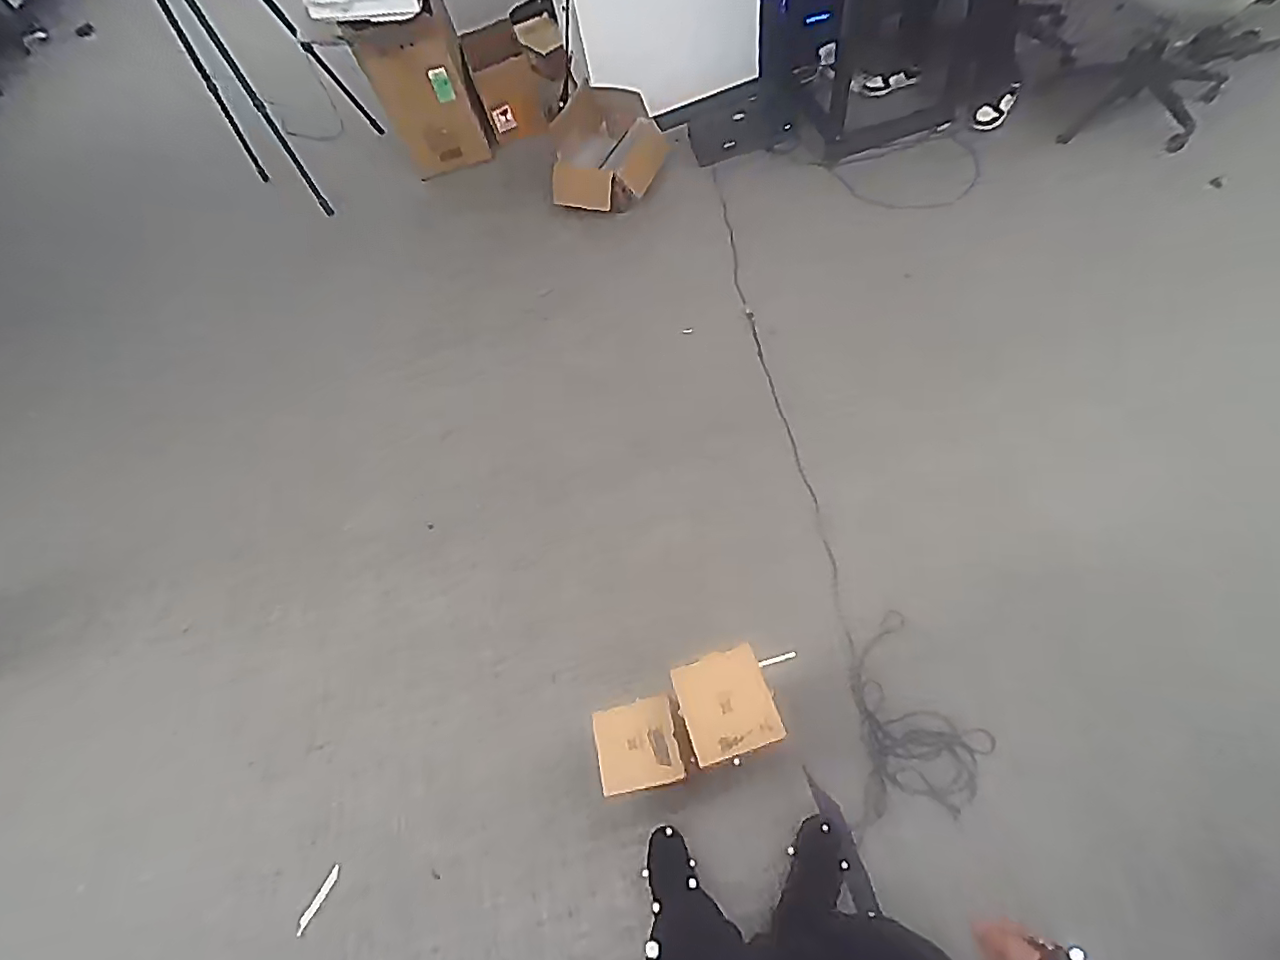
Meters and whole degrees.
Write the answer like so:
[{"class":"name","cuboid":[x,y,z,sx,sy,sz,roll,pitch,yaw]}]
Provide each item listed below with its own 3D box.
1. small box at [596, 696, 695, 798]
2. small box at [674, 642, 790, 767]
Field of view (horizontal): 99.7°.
[{"class":"small box","cuboid":[0.018,0.590,1.200,0.179,0.176,0.168,-17,61,5]},{"class":"small box","cuboid":[0.178,0.442,1.053,0.168,0.176,0.179,-21,60,2]}]
